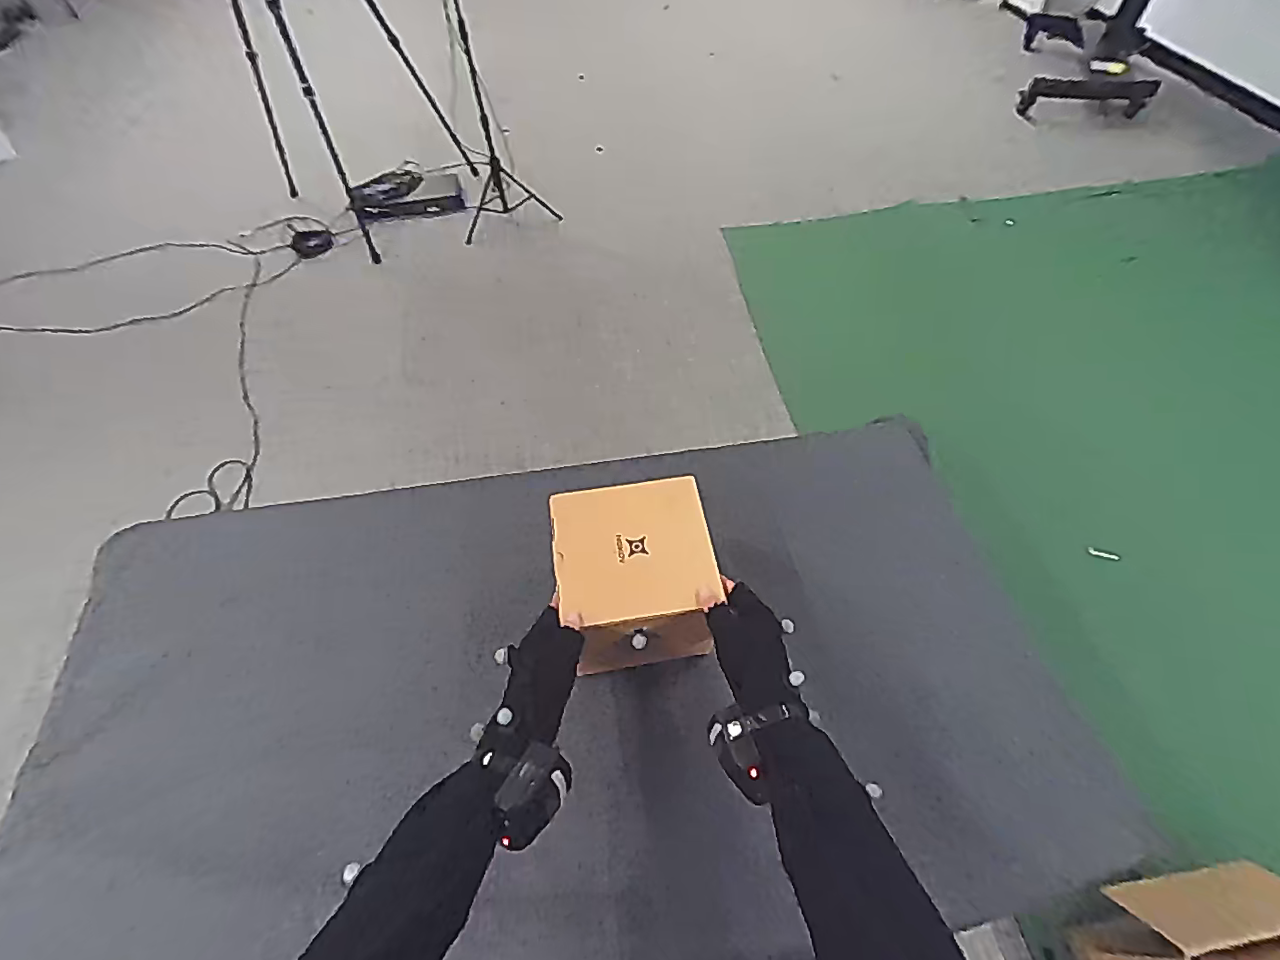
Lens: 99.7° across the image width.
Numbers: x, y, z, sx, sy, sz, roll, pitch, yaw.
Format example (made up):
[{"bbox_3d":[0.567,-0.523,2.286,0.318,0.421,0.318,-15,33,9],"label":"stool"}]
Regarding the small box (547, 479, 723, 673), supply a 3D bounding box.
[{"bbox_3d":[-0.011,0.120,0.654,0.179,0.176,0.168,-8,56,-4],"label":"small box"}]
